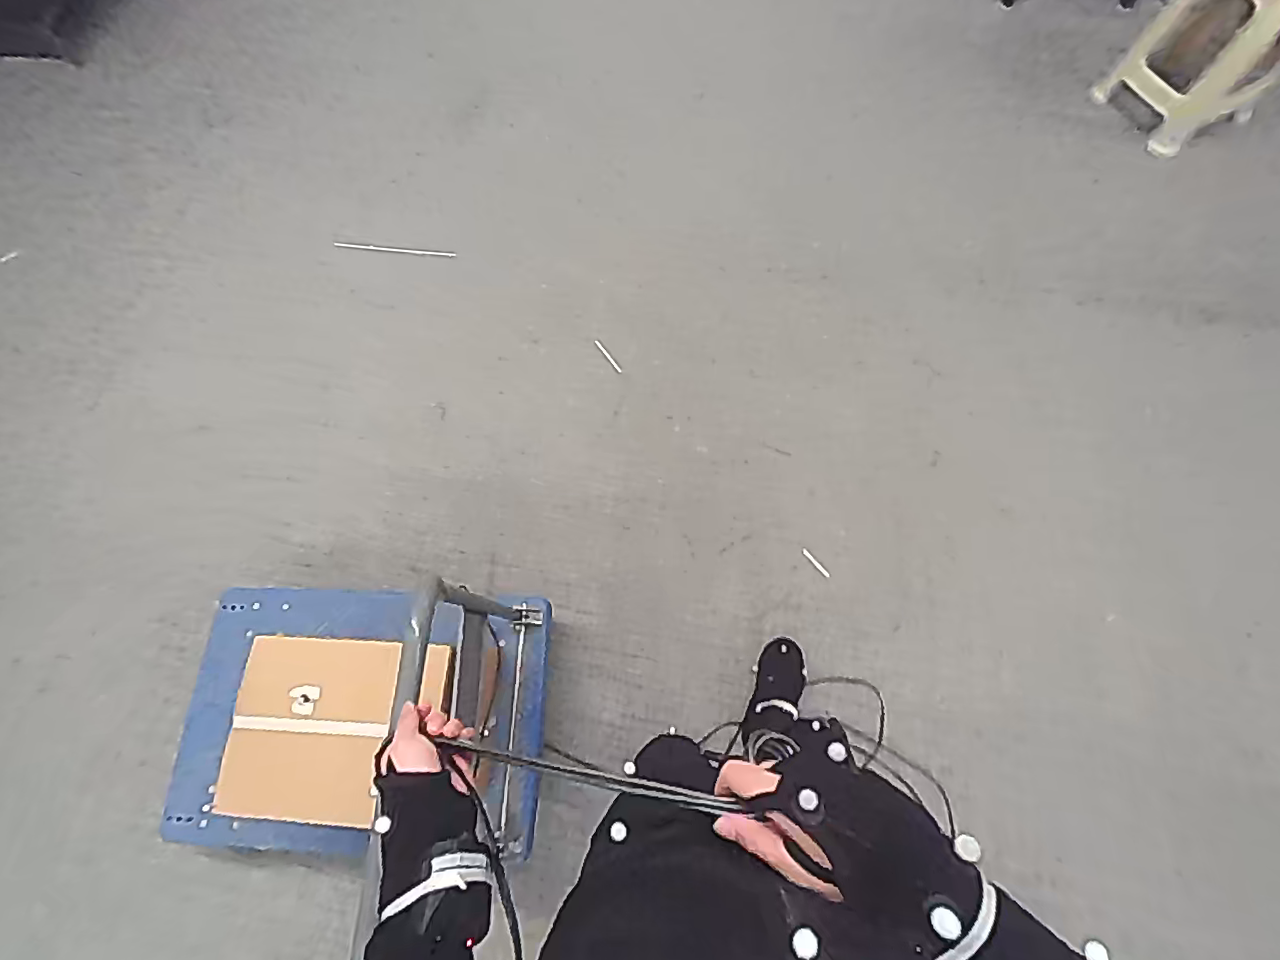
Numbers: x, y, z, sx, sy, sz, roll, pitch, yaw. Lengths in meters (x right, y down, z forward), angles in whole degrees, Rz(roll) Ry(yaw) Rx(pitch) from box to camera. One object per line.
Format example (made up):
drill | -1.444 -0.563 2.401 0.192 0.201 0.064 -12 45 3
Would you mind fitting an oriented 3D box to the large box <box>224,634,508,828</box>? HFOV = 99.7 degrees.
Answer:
large box | -0.528 0.492 1.131 0.408 0.320 0.320 1 72 6
